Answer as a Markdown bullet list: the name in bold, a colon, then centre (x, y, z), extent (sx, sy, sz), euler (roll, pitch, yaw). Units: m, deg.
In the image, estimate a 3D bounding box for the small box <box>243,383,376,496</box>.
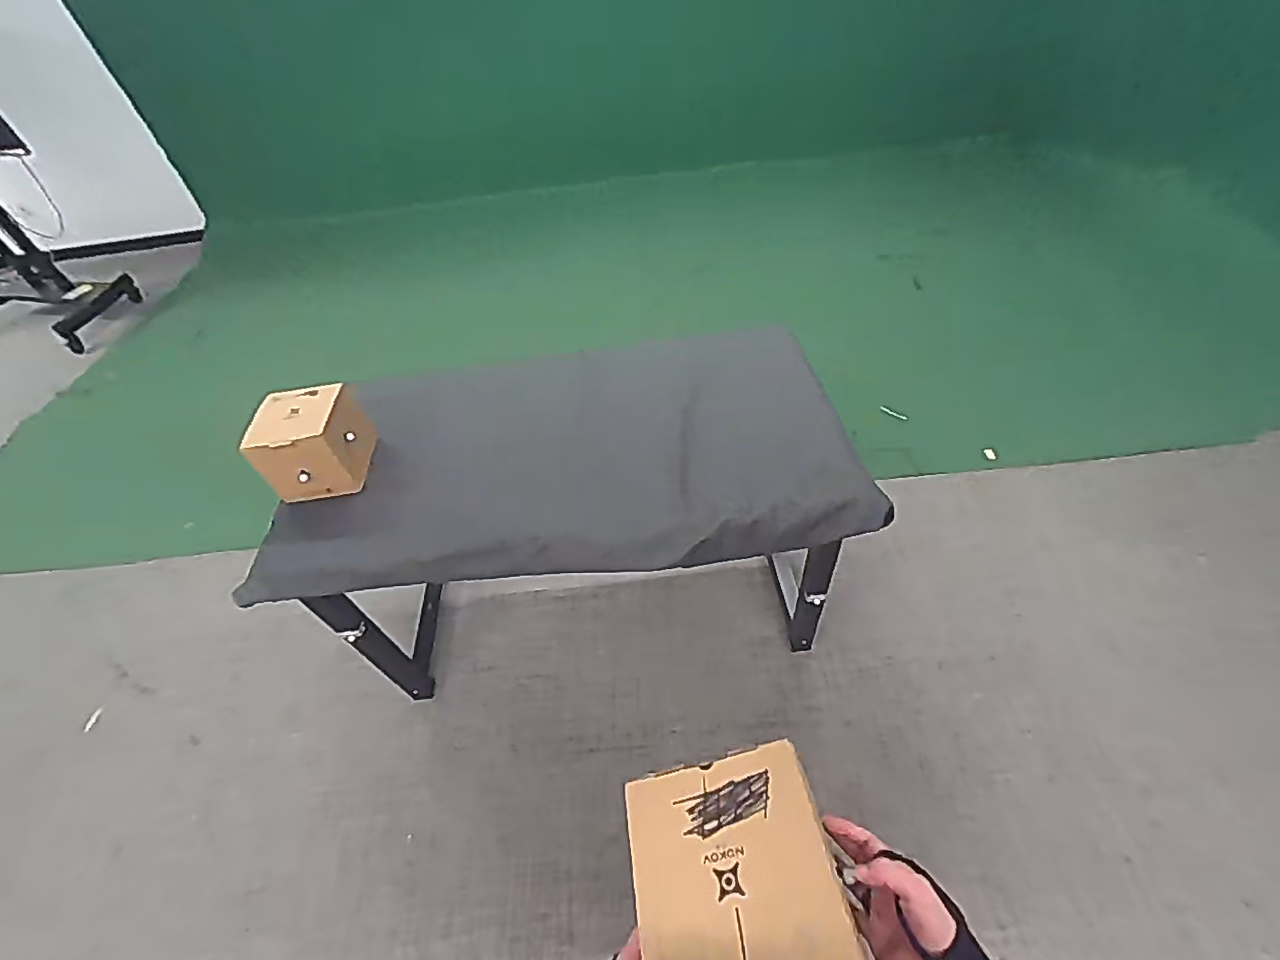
- **small box**: centre (-0.697, -0.080, 1.165), extent (0.168, 0.176, 0.179), euler (-8, 49, -2)
